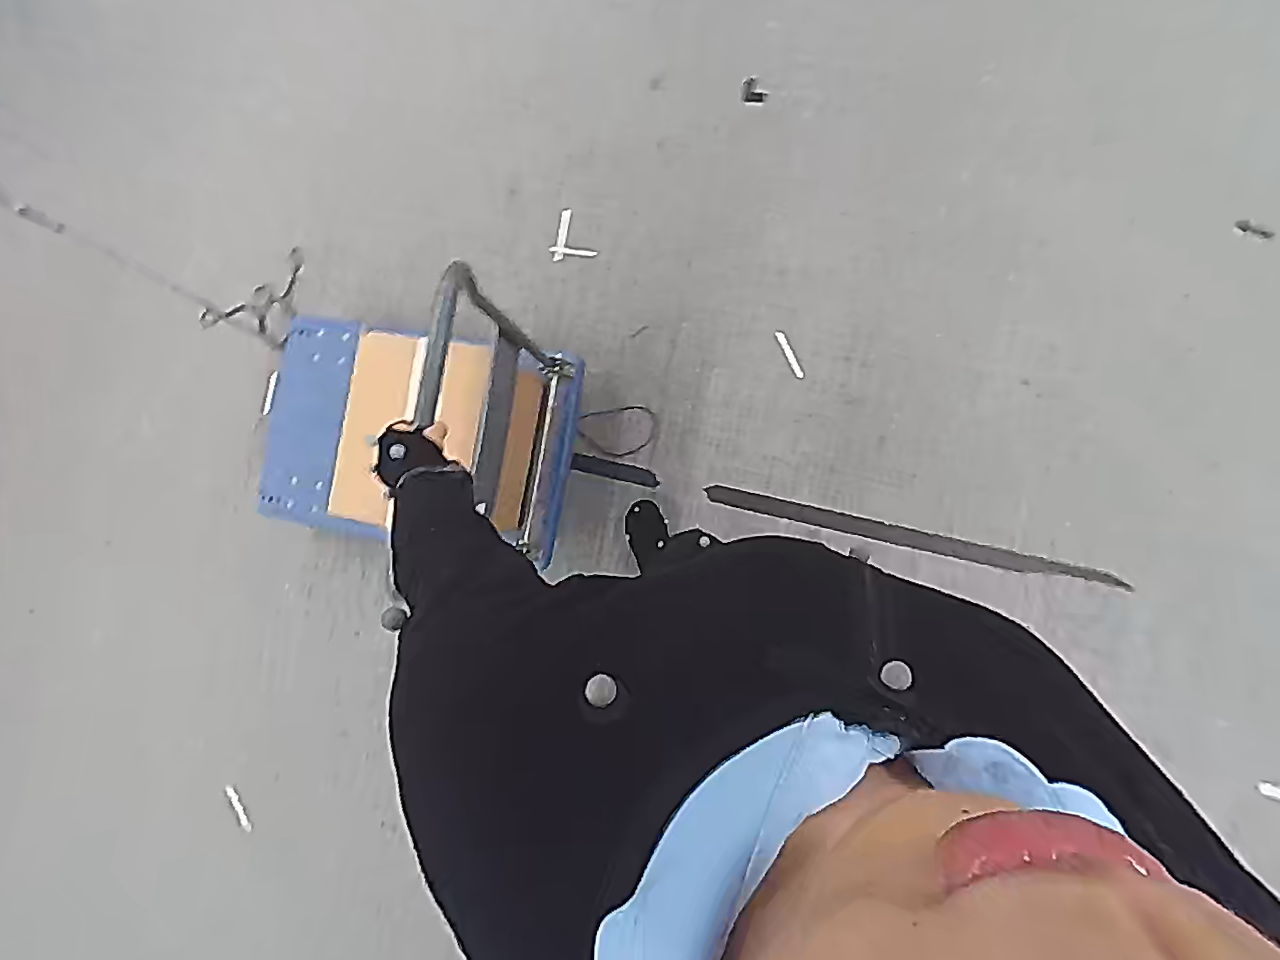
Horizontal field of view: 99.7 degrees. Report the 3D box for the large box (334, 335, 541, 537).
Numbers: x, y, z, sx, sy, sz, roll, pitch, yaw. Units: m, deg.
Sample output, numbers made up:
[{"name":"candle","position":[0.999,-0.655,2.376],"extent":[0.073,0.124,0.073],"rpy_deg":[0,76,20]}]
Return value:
[{"name":"large box","position":[-0.459,-0.088,1.291],"extent":[0.320,0.320,0.408],"rpy_deg":[10,88,9]}]
